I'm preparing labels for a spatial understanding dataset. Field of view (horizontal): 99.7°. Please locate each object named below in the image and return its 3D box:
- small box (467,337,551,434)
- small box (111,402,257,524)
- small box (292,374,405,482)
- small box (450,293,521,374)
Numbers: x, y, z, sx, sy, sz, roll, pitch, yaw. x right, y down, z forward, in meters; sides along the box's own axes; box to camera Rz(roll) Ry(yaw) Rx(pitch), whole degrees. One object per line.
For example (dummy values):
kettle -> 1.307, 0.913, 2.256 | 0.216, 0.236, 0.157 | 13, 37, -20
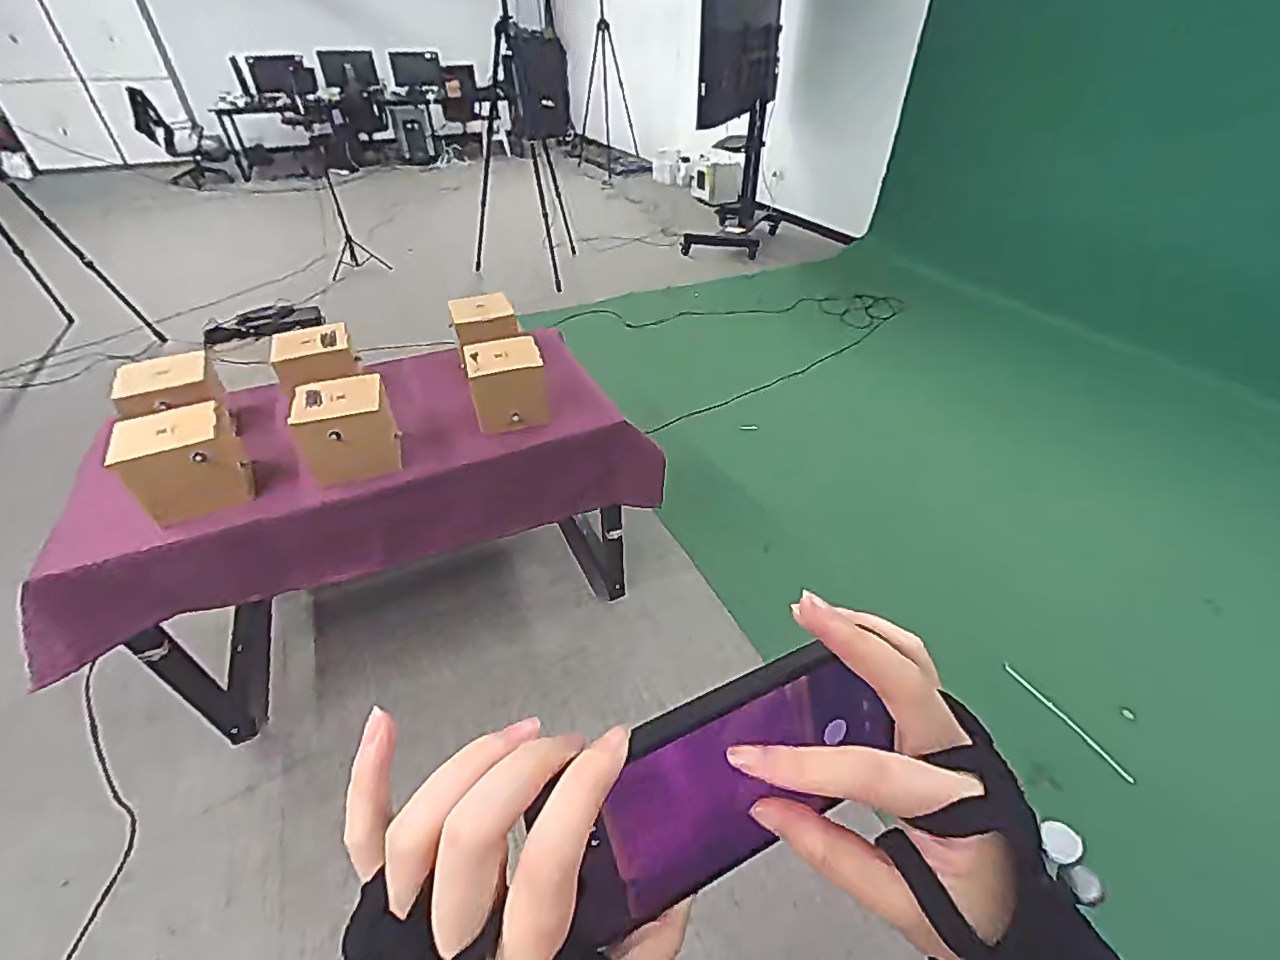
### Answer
small box -> -0.325, -0.238, 1.359 | 0.179, 0.176, 0.168 | -12, 41, -14
small box -> -0.934, -0.035, 1.124 | 0.179, 0.176, 0.168 | -21, 44, -24
small box -> -0.645, -0.115, 1.216 | 0.179, 0.176, 0.168 | -12, 42, -15
small box -> -0.445, -0.426, 1.579 | 0.168, 0.176, 0.179 | -15, 43, -16
